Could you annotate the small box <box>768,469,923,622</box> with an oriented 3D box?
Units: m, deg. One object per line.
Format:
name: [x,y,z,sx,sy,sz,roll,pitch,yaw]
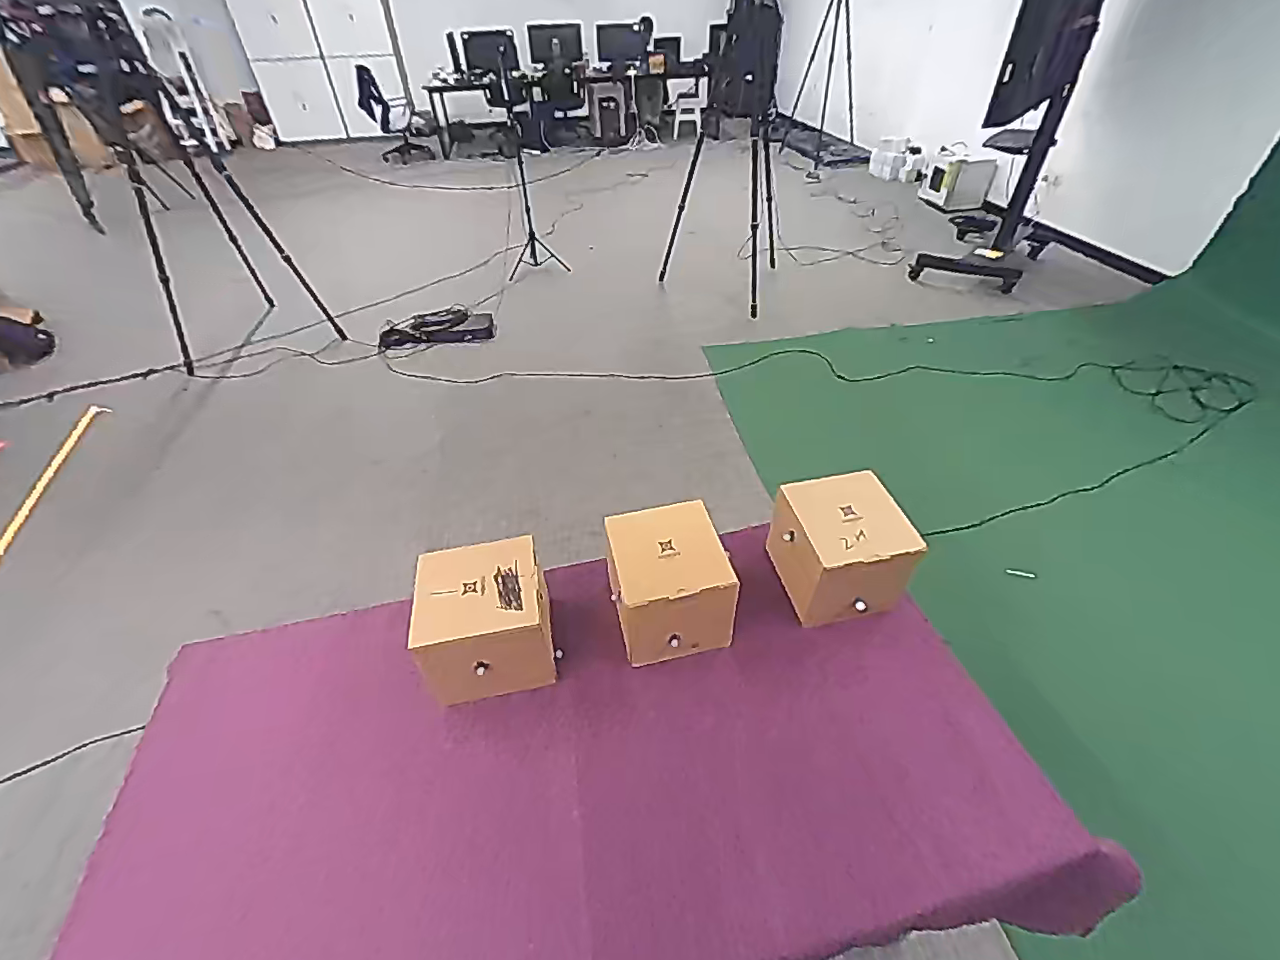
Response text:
small box: [0.325,0.109,0.902,0.168,0.176,0.179,-9,46,-6]

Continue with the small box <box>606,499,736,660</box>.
small box: [0.042,0.159,0.872,0.168,0.176,0.179,-11,44,-8]

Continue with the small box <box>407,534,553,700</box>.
small box: [-0.232,0.210,0.828,0.179,0.176,0.168,-10,43,-6]
